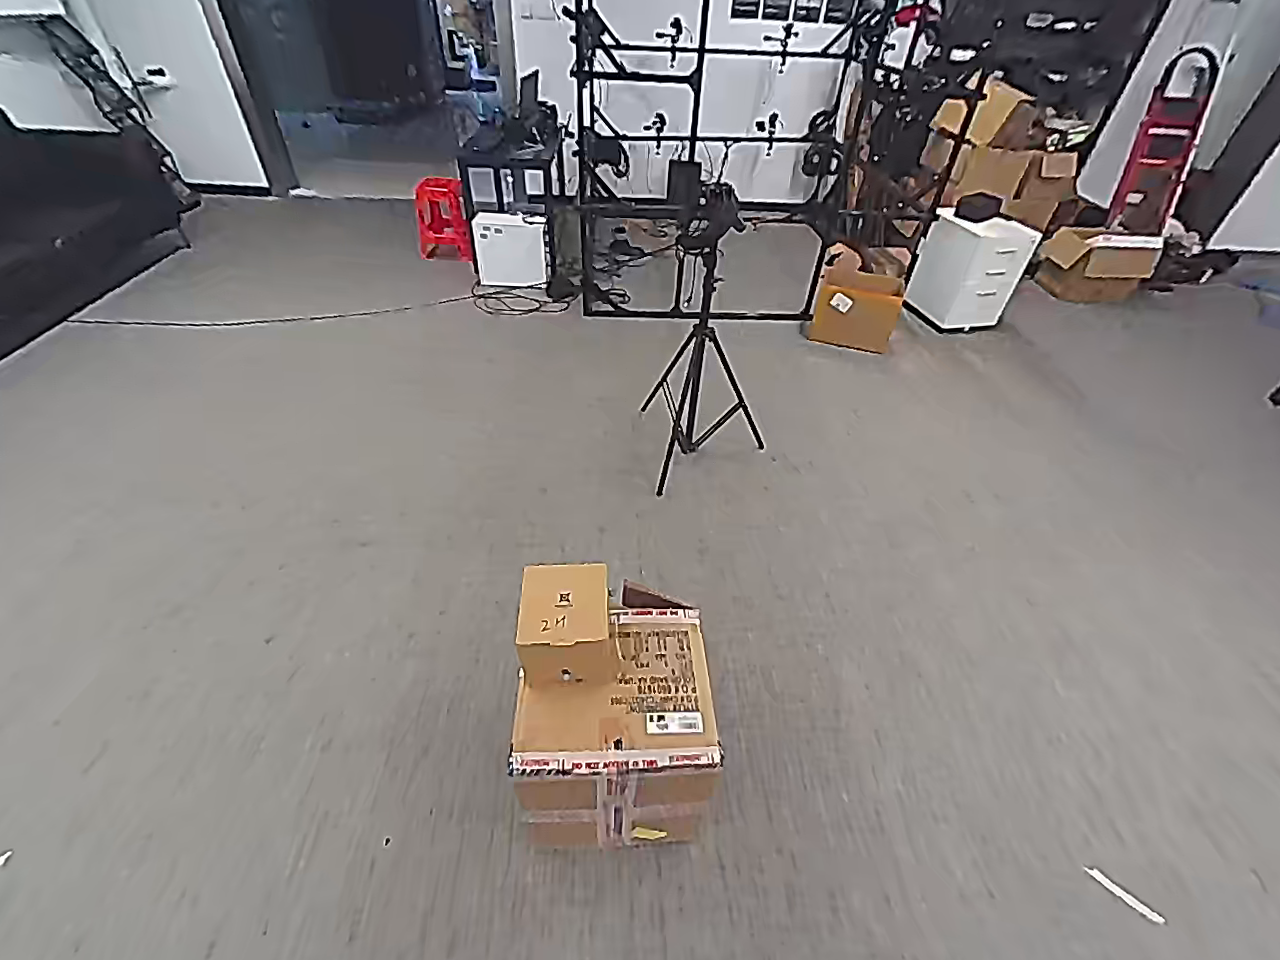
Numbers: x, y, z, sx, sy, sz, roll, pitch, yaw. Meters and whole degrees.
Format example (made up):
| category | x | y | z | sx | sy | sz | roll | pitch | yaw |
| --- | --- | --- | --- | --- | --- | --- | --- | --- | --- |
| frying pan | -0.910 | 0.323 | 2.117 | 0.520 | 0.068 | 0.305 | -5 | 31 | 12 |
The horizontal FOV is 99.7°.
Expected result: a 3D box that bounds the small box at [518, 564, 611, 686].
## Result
| category | x | y | z | sx | sy | sz | roll | pitch | yaw |
| --- | --- | --- | --- | --- | --- | --- | --- | --- | --- |
| small box | -0.143 | 0.289 | 1.078 | 0.168 | 0.176 | 0.179 | -2 | 45 | -3 |
